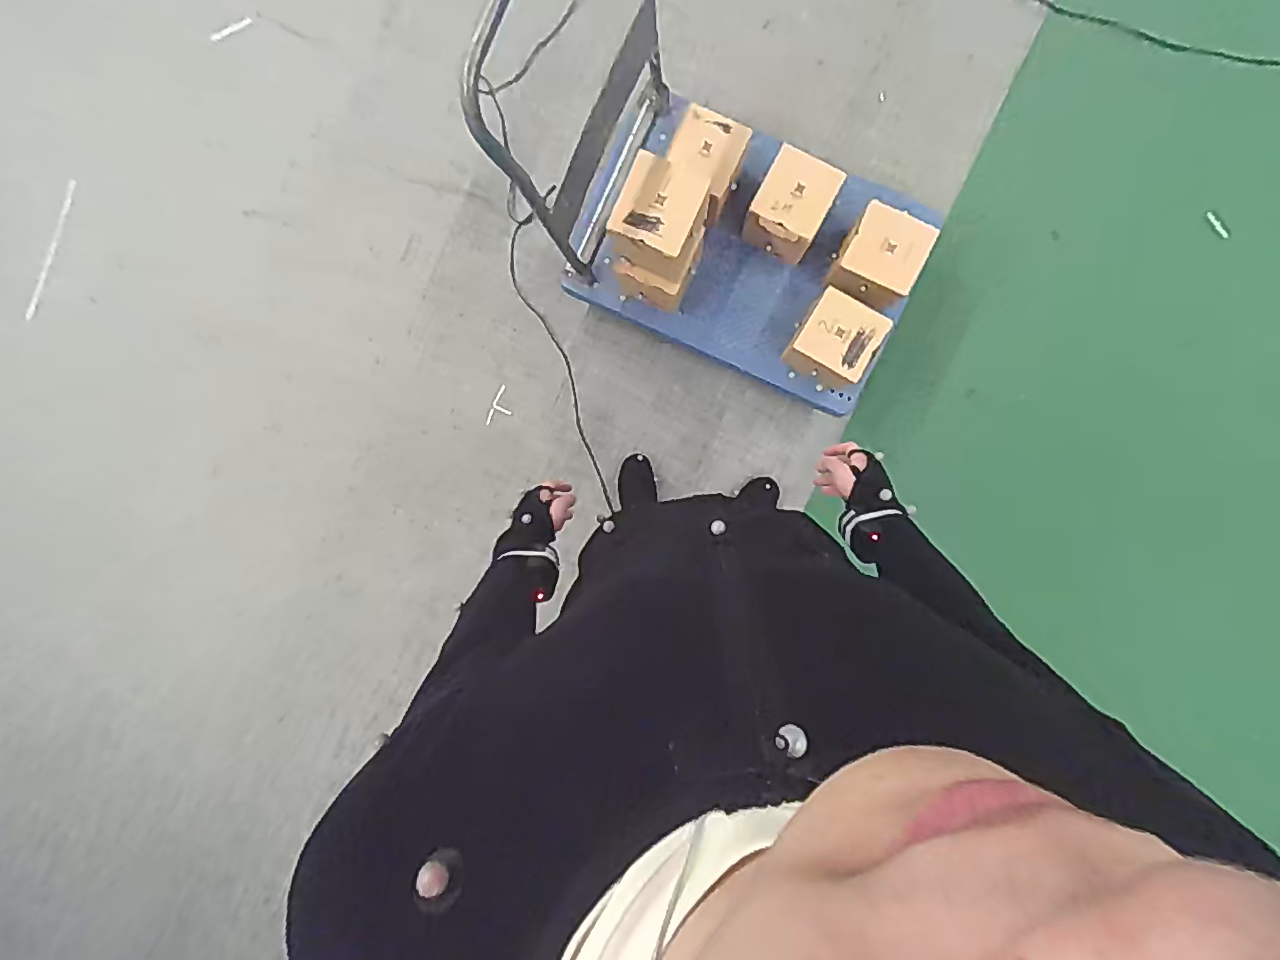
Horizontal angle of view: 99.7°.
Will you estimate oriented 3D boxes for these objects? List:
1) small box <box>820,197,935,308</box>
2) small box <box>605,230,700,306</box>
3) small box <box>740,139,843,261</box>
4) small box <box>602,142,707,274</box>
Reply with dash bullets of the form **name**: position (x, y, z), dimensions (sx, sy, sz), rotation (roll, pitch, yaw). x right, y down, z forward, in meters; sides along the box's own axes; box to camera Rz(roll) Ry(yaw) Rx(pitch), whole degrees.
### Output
- **small box**: position (0.566, -0.542, 1.317), dimensions (0.179, 0.176, 0.168), rotation (27, 95, 2)
- **small box**: position (0.035, -0.568, 1.355), dimensions (0.168, 0.176, 0.179), rotation (-34, 90, 6)
- **small box**: position (0.359, -0.675, 1.322), dimensions (0.168, 0.176, 0.179), rotation (29, 94, 2)
- **small box**: position (0.034, -0.580, 1.181), dimensions (0.168, 0.176, 0.179), rotation (25, 93, 1)
